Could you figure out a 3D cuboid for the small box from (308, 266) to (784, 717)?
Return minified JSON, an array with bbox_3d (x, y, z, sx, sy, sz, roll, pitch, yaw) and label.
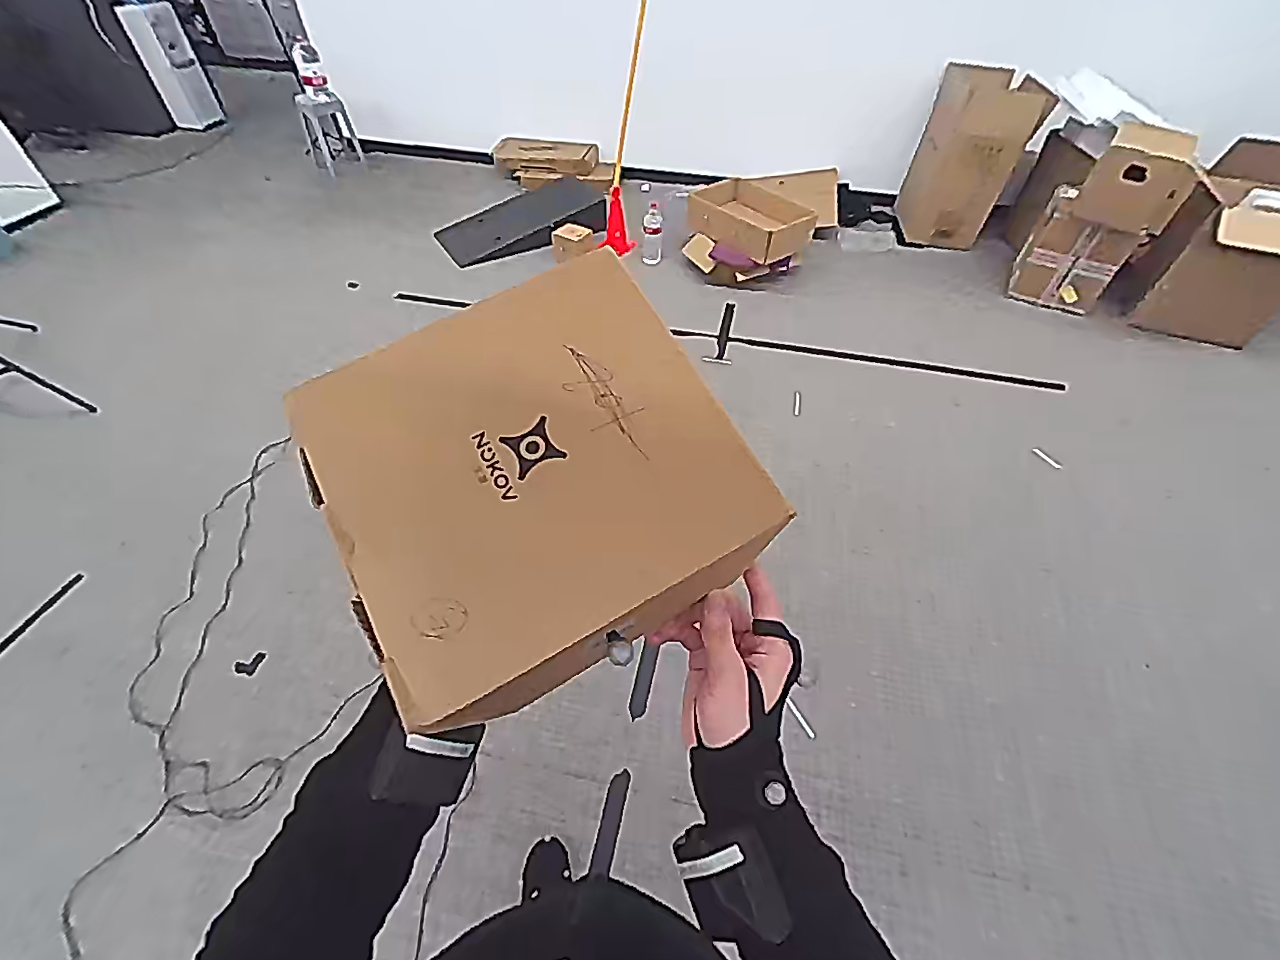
[{"bbox_3d":[-0.047,0.018,0.325,0.179,0.176,0.168,-28,73,-10],"label":"small box"}]
